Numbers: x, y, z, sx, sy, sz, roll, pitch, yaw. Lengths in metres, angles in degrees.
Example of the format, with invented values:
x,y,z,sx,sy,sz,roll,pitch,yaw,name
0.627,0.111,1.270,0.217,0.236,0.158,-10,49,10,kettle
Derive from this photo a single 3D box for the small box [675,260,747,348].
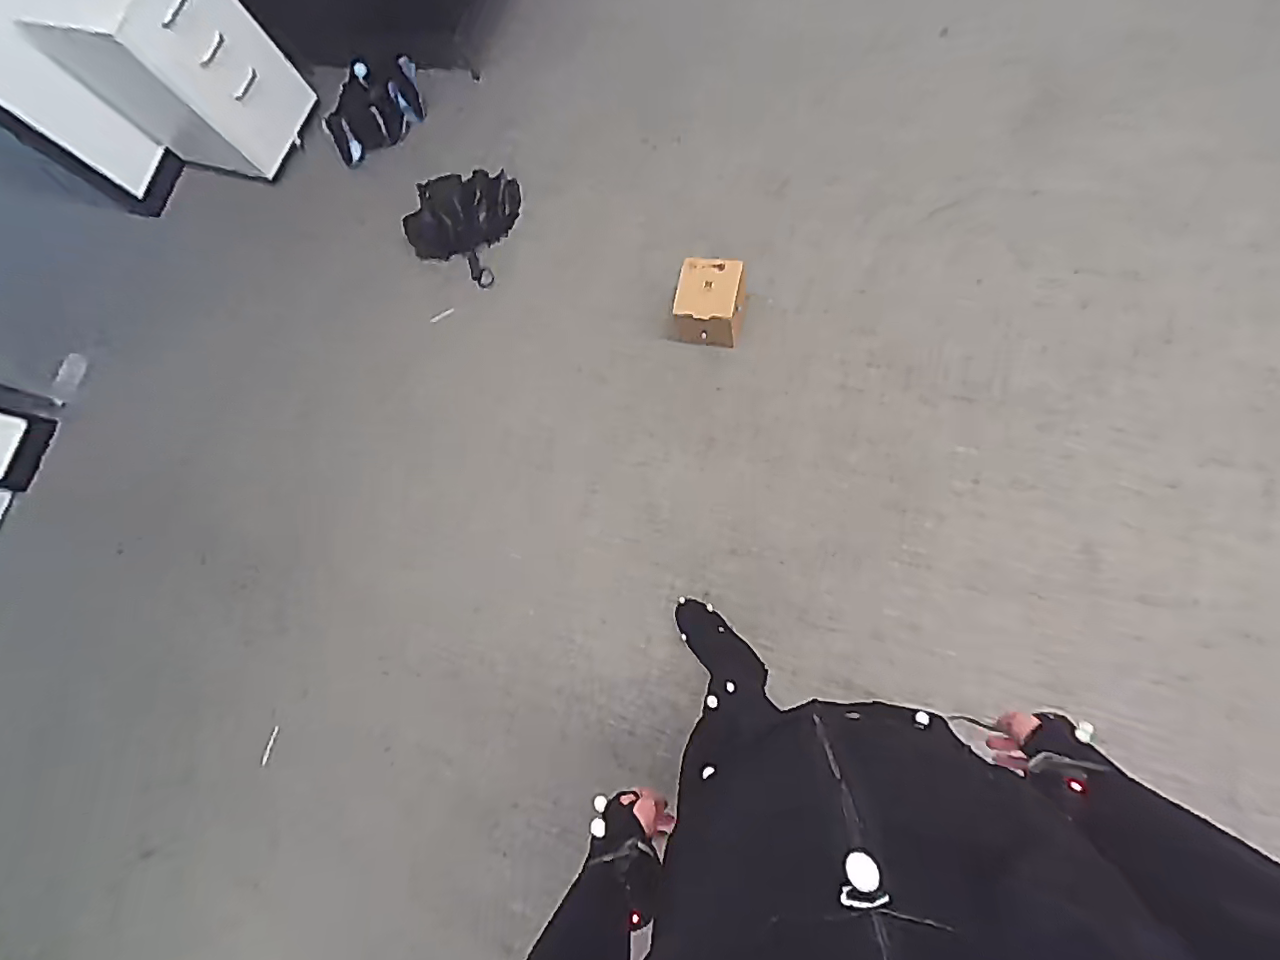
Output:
x,y,z,sx,sy,sz,roll,pitch,yaw,name
0.207,-0.491,1.530,0.168,0.176,0.179,10,79,15,small box
